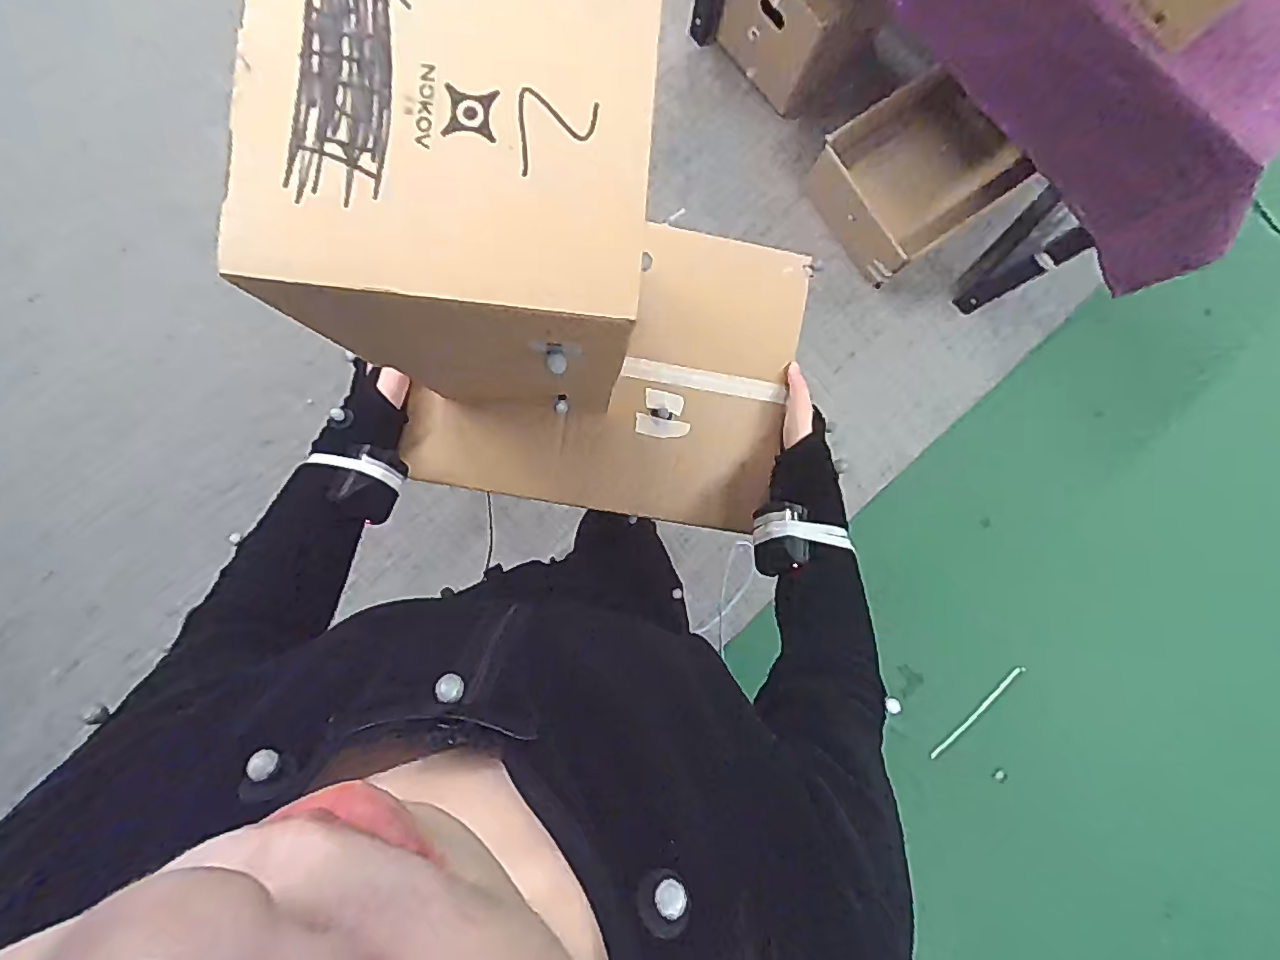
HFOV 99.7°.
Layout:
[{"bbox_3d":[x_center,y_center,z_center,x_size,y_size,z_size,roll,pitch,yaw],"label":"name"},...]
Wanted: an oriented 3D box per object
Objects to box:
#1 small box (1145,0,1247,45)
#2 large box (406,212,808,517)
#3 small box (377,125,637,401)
[{"bbox_3d":[0.892,-0.812,0.800,0.179,0.176,0.168,-41,91,-5],"label":"small box"},{"bbox_3d":[-0.045,-0.140,0.728,0.408,0.320,0.320,9,92,-6],"label":"large box"},{"bbox_3d":[-0.103,-0.167,0.477,0.179,0.176,0.168,6,90,-5],"label":"small box"}]
